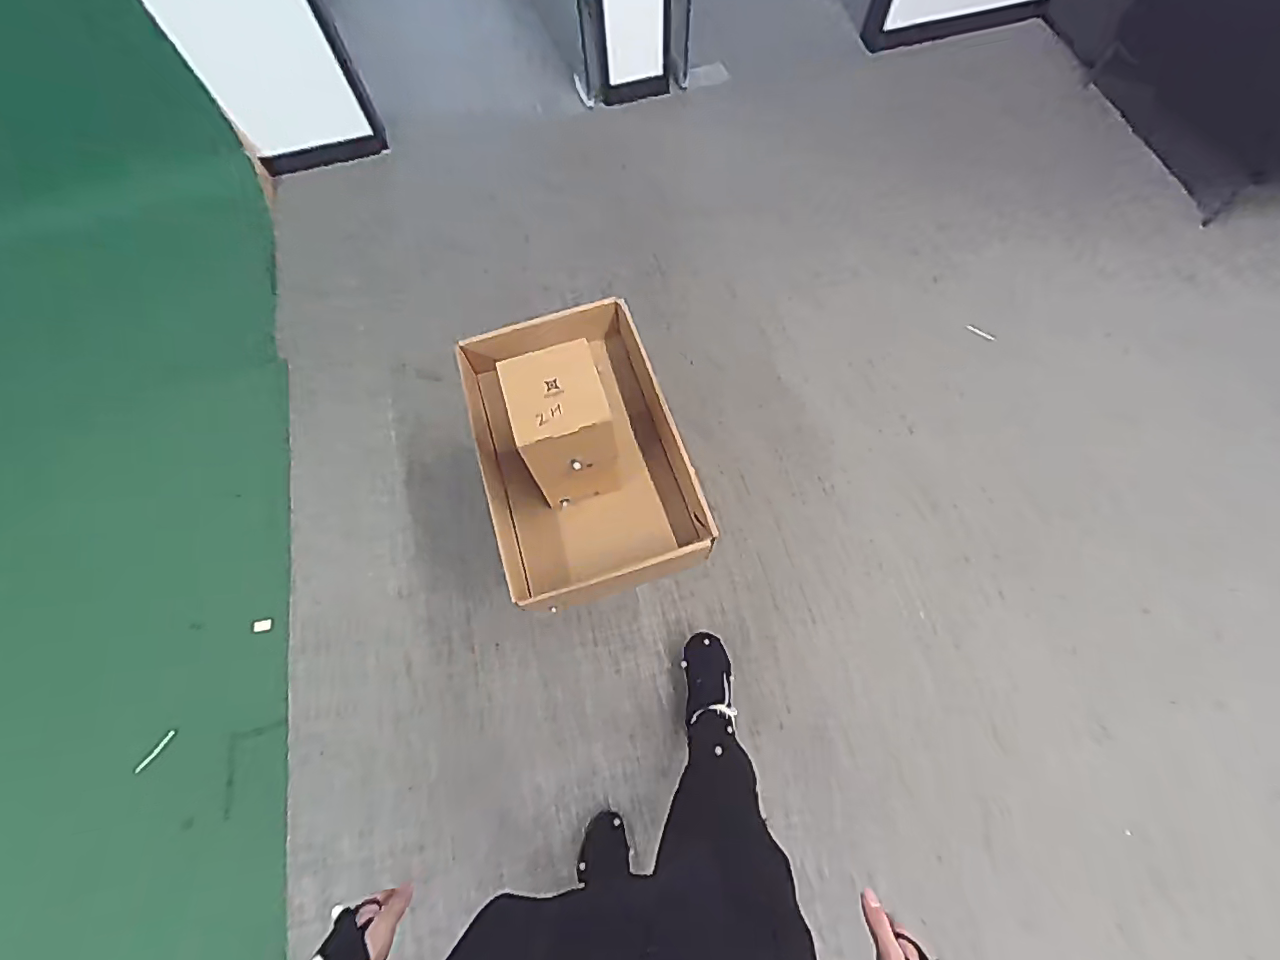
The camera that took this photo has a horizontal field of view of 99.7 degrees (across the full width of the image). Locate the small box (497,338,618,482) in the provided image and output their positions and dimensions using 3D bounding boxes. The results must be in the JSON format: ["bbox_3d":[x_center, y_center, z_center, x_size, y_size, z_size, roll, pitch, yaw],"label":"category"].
[{"bbox_3d":[-0.144,-0.121,0.979,0.168,0.176,0.179,-17,68,-5],"label":"small box"}]

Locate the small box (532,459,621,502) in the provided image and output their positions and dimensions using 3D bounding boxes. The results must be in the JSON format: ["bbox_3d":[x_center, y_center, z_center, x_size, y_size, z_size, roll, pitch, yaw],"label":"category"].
[{"bbox_3d":[-0.142,-0.066,1.135,0.168,0.176,0.179,-16,67,-5],"label":"small box"}]
